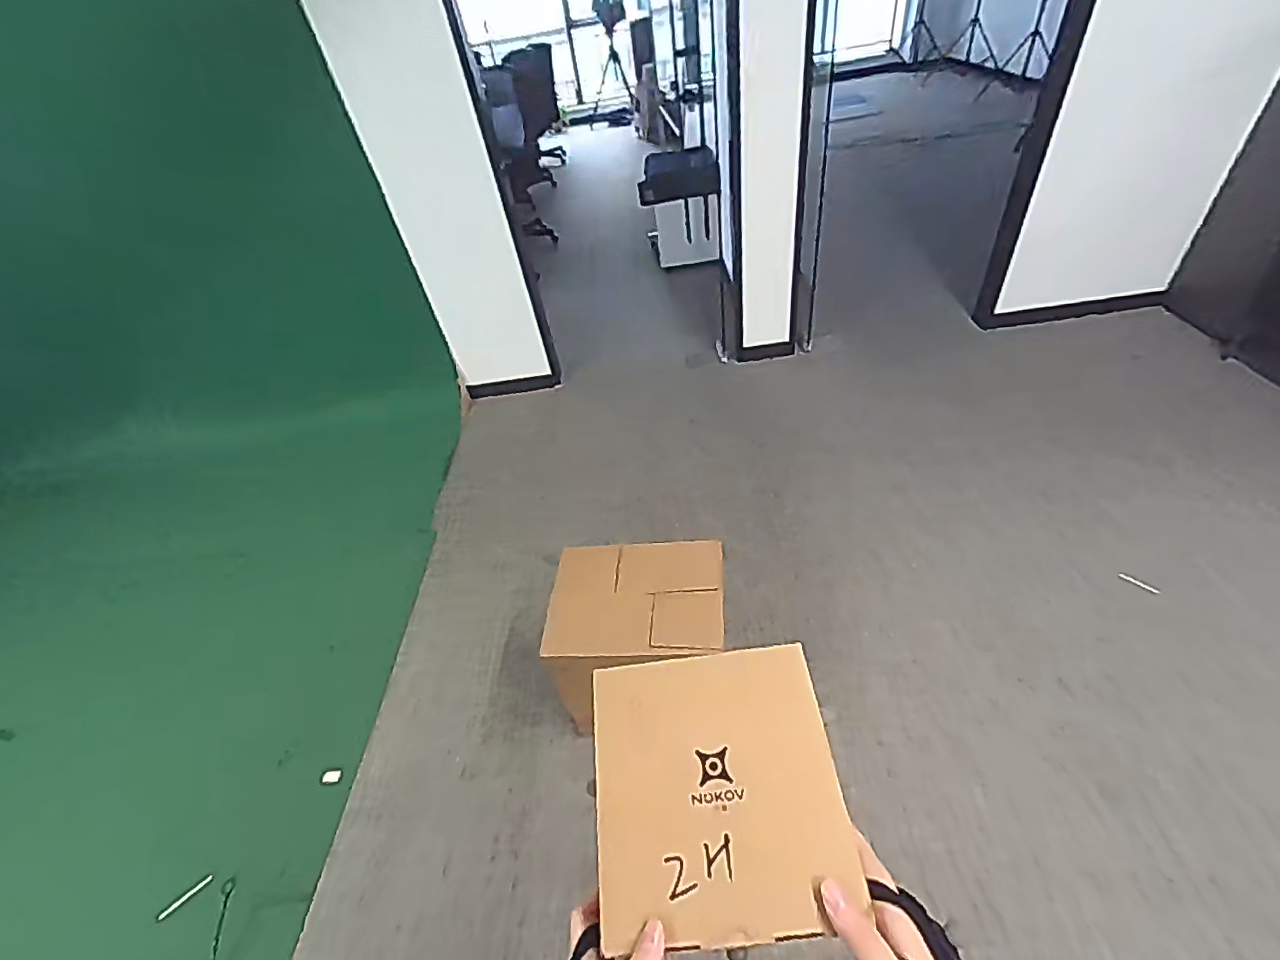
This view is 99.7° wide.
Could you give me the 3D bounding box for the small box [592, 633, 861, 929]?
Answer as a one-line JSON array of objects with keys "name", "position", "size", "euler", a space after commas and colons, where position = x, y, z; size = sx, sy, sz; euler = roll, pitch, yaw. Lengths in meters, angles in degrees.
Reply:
[{"name": "small box", "position": [0.058, 0.247, 0.441], "size": [0.168, 0.176, 0.179], "euler": [-9, 52, 5]}]
